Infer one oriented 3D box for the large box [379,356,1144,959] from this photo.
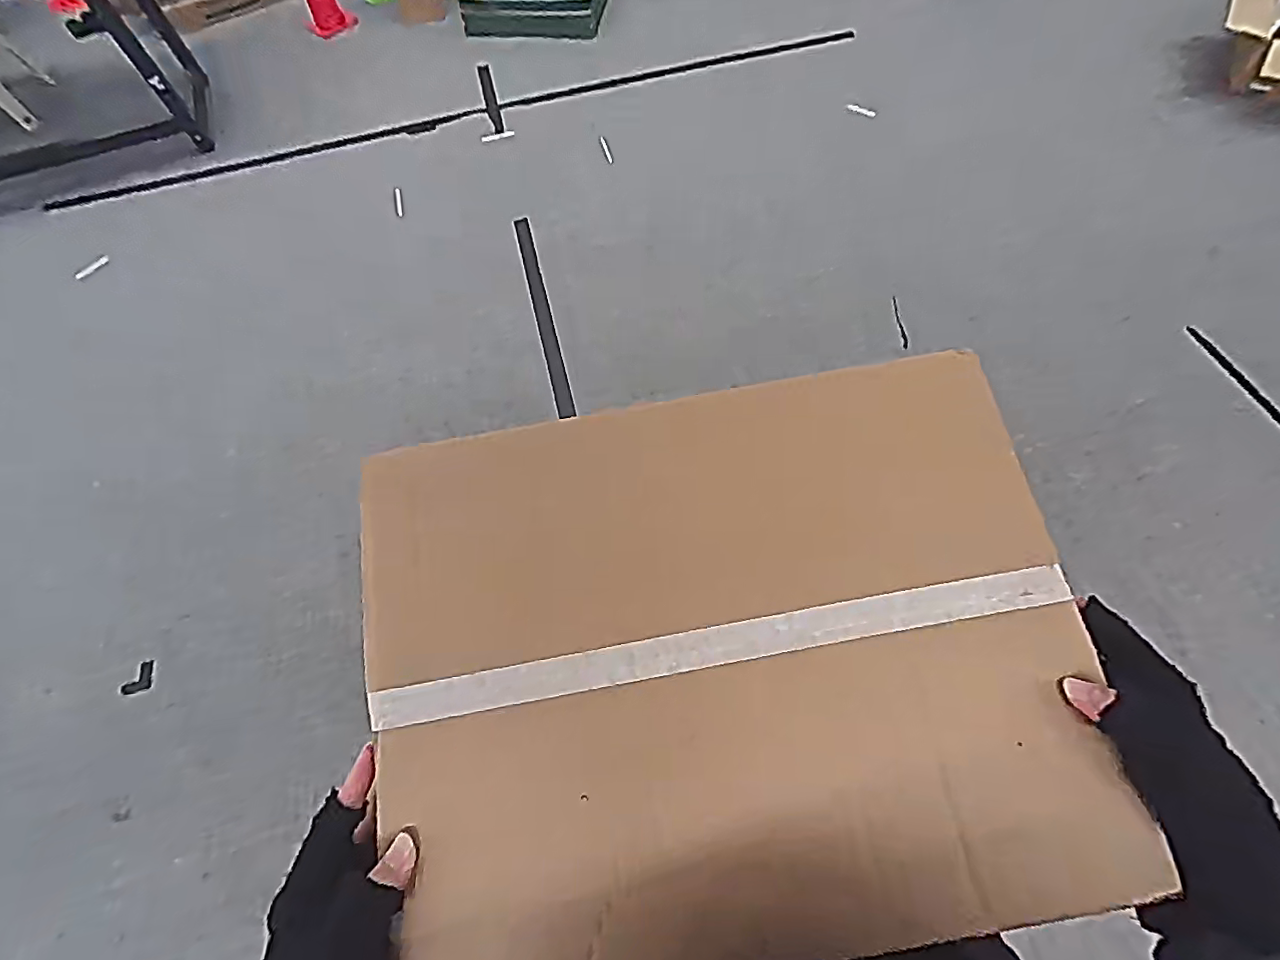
[{"bbox_3d":[0.052,0.138,0.466,0.408,0.320,0.320,-11,75,0],"label":"large box"}]
